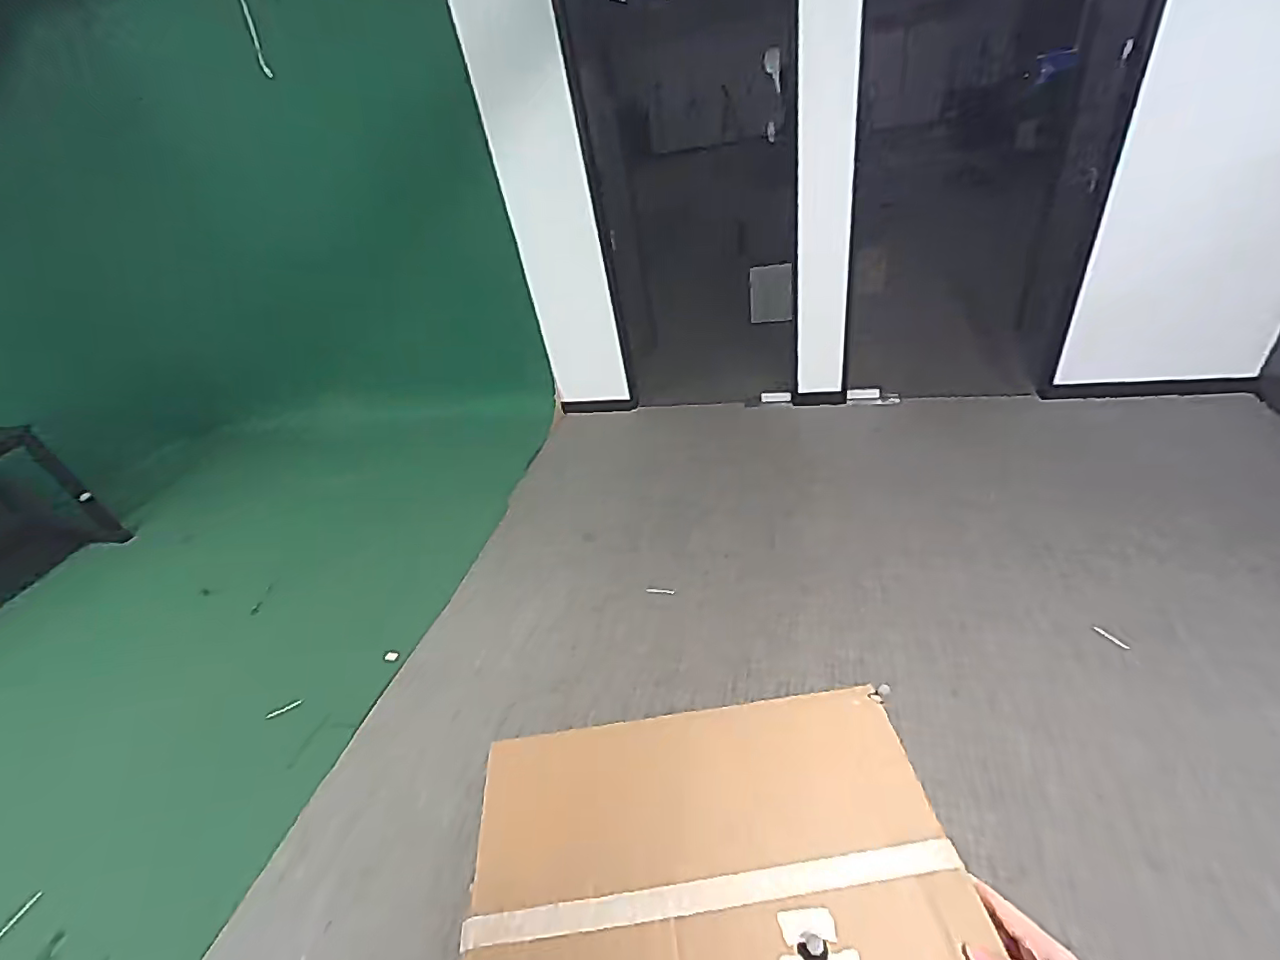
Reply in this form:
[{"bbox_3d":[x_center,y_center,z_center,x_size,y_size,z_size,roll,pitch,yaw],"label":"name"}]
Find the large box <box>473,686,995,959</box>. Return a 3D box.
[{"bbox_3d":[0.071,0.456,0.543,0.408,0.320,0.320,-7,38,-2],"label":"large box"}]
